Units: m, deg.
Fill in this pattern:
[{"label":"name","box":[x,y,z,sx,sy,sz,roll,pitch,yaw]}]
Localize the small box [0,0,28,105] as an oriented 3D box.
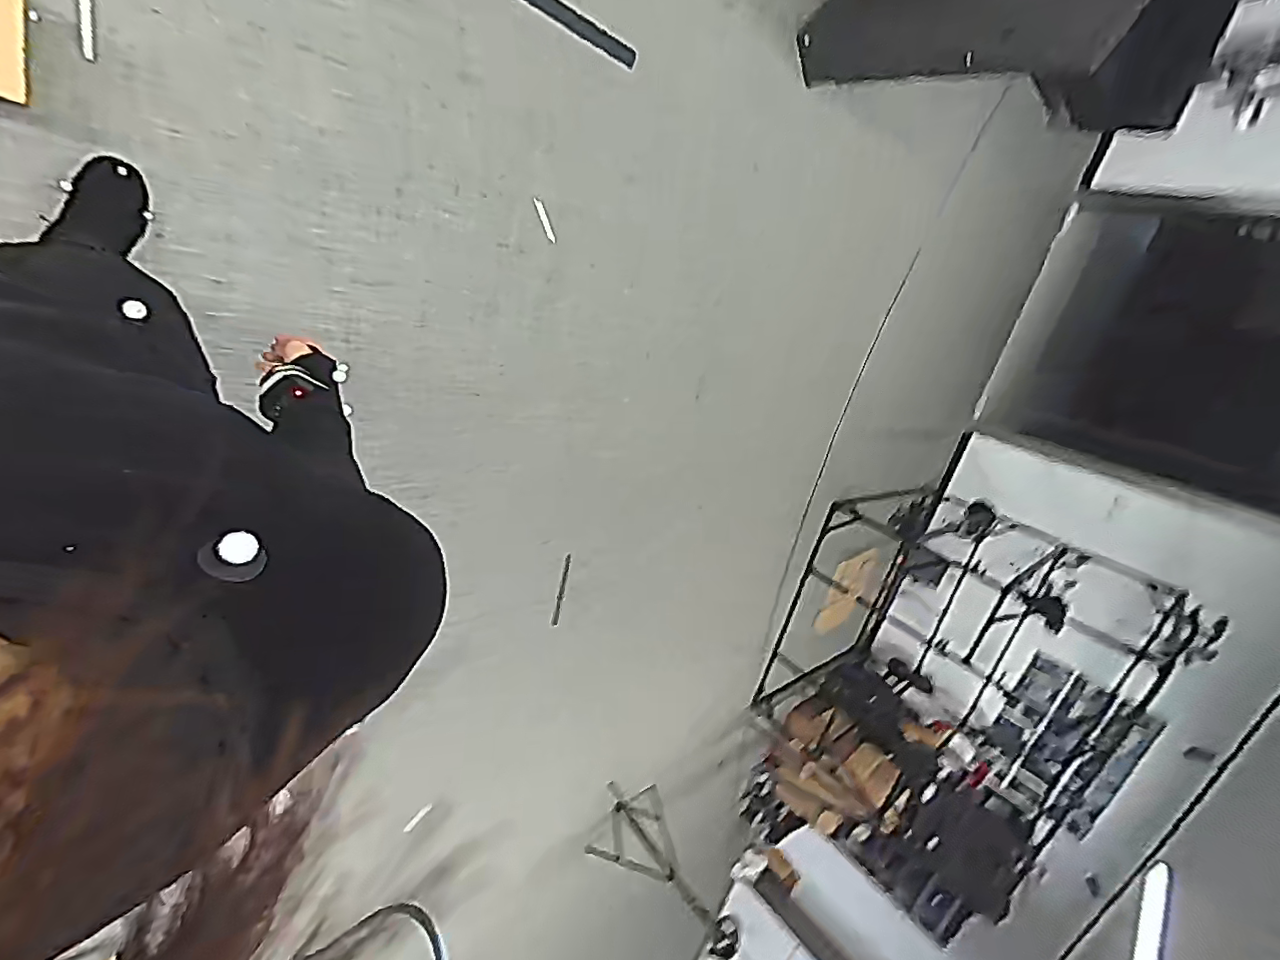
[{"label":"small box","box":[-1.089,-0.718,0.845,0.168,0.176,0.179,0,114,-46]}]
